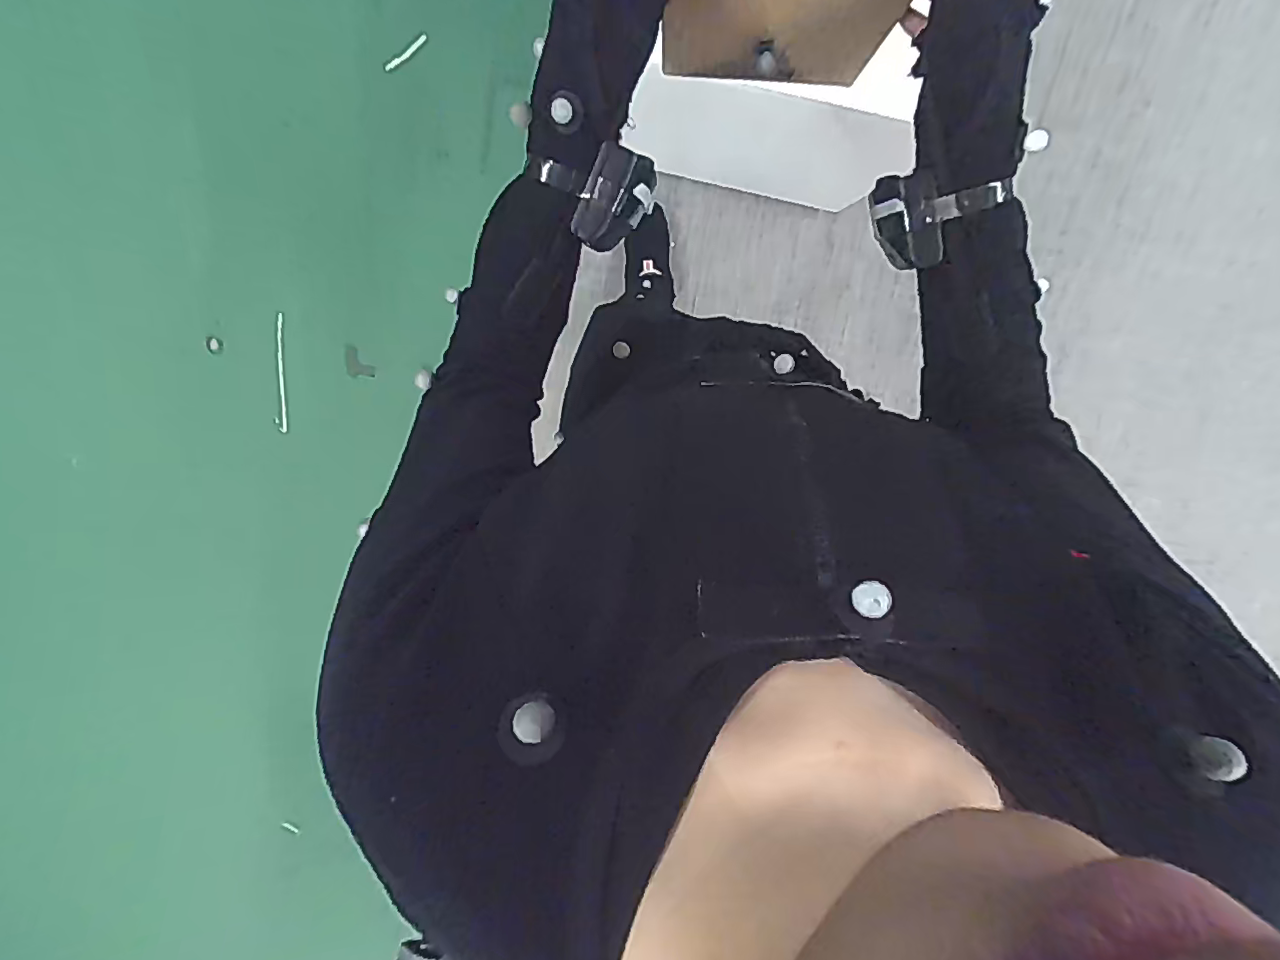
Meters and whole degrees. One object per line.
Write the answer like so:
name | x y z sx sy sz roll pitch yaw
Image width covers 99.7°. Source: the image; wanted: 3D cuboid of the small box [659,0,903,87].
small box | 0.101 -0.412 0.369 0.168 0.176 0.179 5 104 2
